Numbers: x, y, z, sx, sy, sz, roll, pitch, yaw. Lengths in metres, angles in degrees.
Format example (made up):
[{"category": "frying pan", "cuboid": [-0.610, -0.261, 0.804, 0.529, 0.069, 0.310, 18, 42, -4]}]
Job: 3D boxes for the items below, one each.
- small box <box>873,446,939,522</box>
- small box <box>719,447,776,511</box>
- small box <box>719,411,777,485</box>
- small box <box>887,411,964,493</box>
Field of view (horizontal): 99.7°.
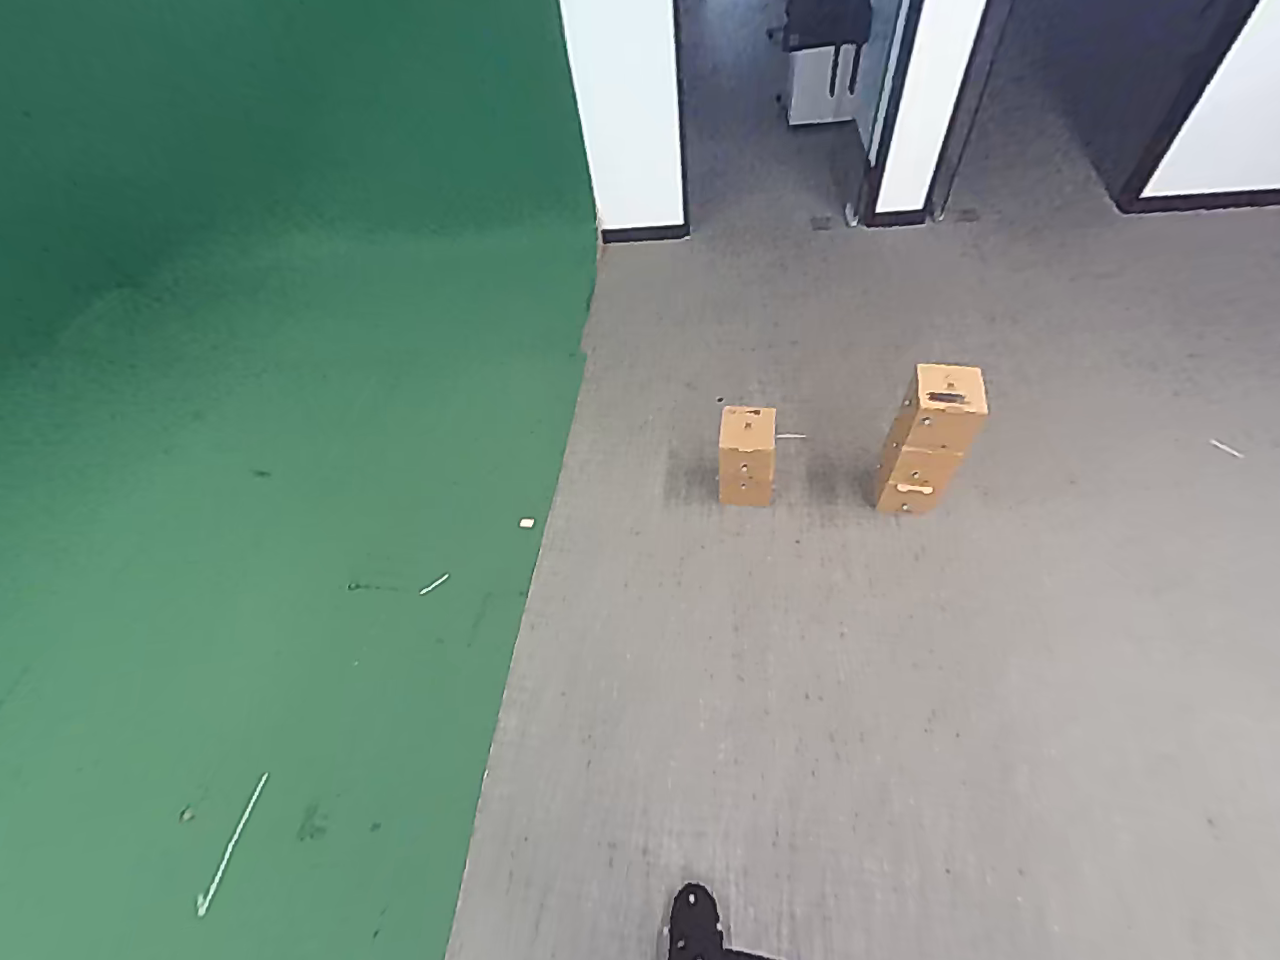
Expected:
[{"category": "small box", "cuboid": [0.874, 0.013, 1.779, 0.168, 0.176, 0.179, 10, 56, 17]}, {"category": "small box", "cuboid": [0.371, -0.006, 1.870, 0.179, 0.176, 0.168, 6, 55, 12]}, {"category": "small box", "cuboid": [0.346, -0.100, 1.738, 0.168, 0.176, 0.179, 5, 56, 12]}, {"category": "small box", "cuboid": [0.863, -0.085, 1.652, 0.168, 0.176, 0.179, 6, 55, 12]}]
